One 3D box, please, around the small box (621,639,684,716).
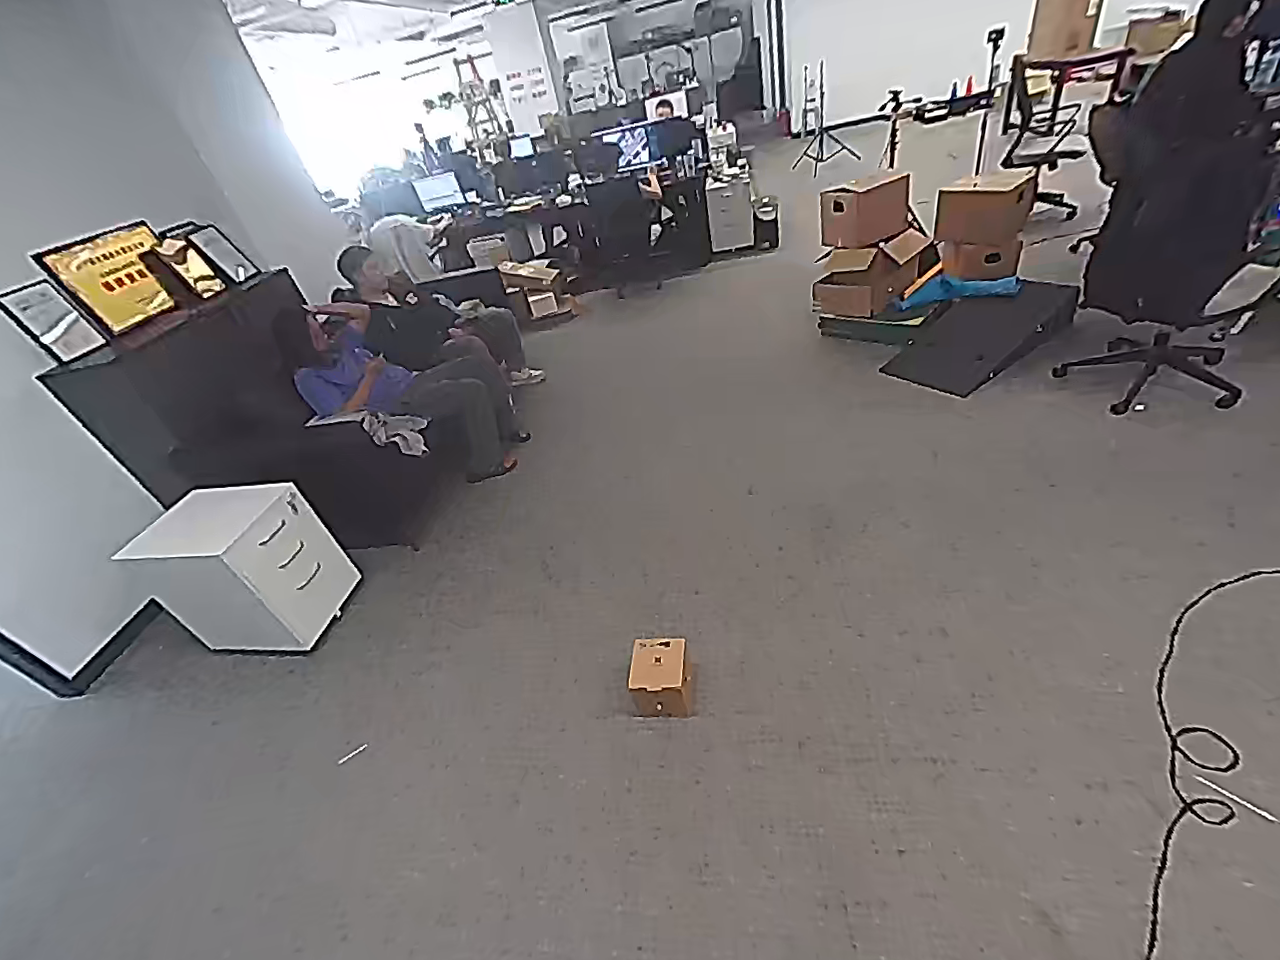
[{"bbox_3d":[0.045,0.632,1.720,0.168,0.176,0.179,-7,37,11],"label":"small box"}]
